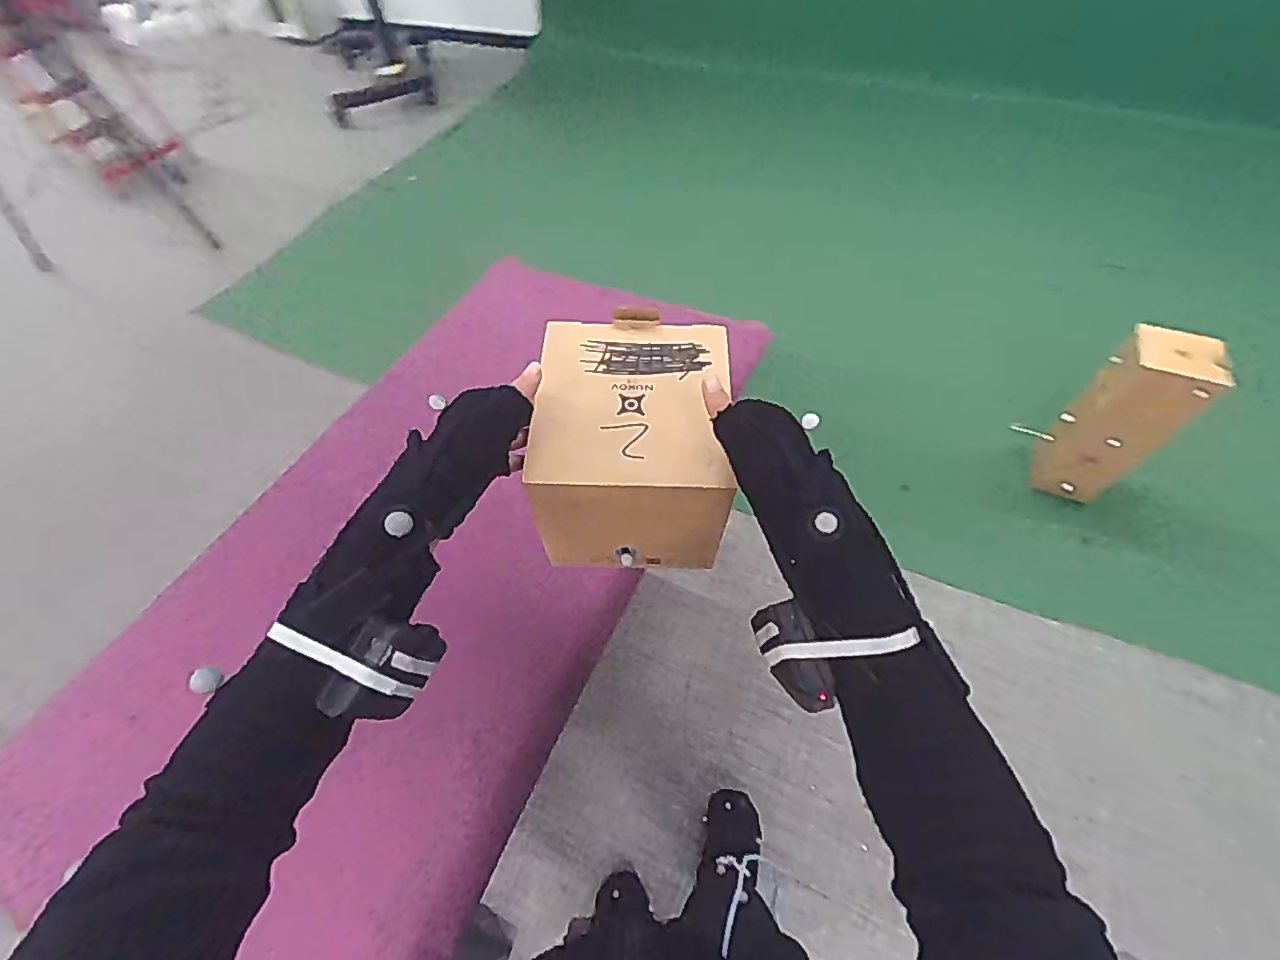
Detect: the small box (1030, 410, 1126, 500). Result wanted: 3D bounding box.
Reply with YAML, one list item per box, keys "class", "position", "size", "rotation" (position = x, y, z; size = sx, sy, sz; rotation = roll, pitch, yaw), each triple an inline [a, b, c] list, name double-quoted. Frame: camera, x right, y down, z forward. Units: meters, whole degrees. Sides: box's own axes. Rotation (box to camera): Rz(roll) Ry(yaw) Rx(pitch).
- class: "small box"
  position: [1.295, -0.071, 1.607]
  size: [0.168, 0.176, 0.179]
  rotation: [19, 59, 16]

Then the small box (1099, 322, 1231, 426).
- class: "small box"
  position: [1.281, -0.258, 1.340]
  size: [0.179, 0.176, 0.168]
  rotation: [19, 58, 15]

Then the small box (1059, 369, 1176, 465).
- class: "small box"
  position: [1.292, -0.166, 1.470]
  size: [0.179, 0.176, 0.168]
  rotation: [21, 58, 16]
